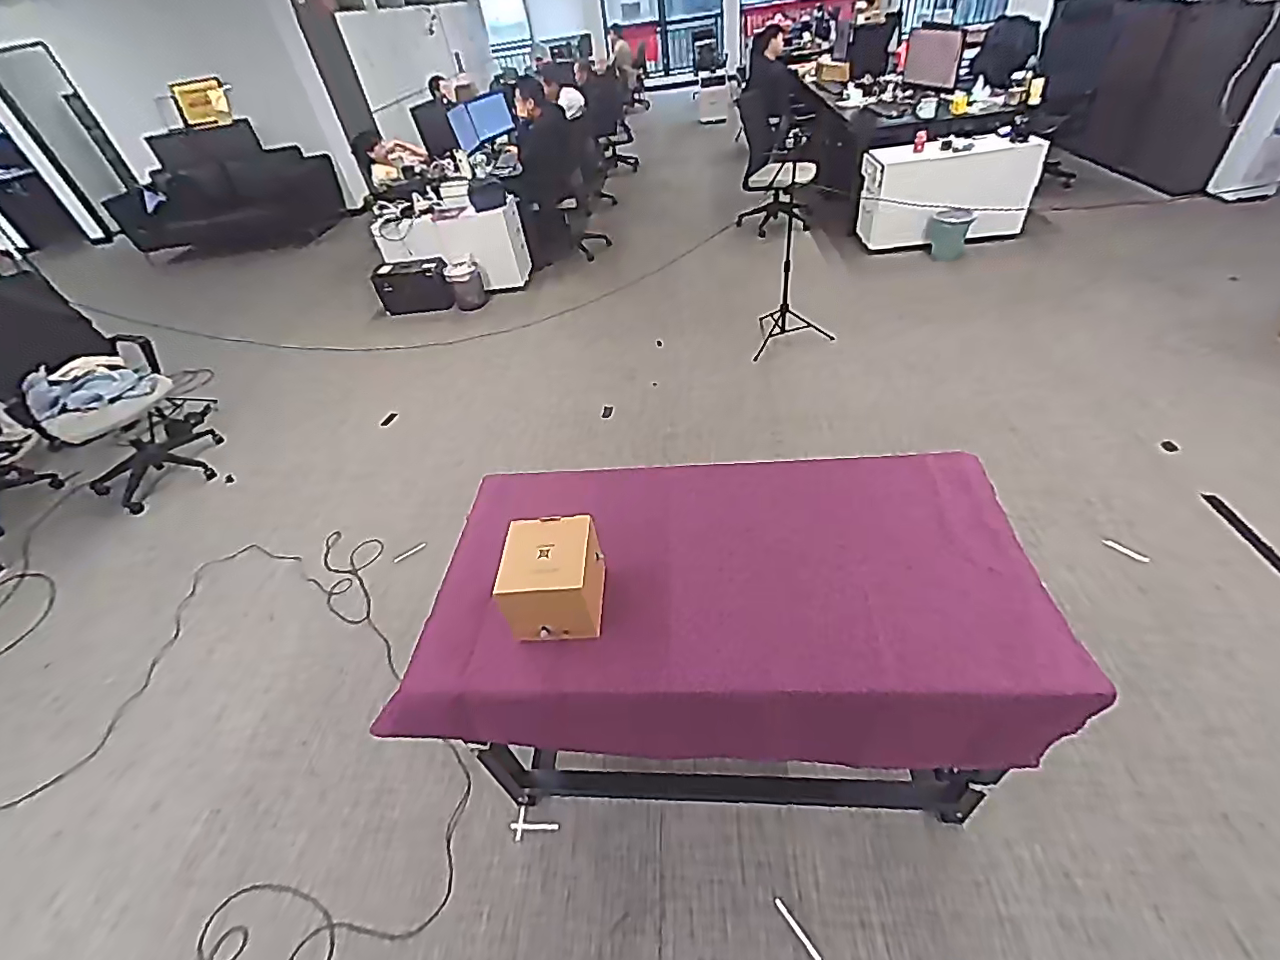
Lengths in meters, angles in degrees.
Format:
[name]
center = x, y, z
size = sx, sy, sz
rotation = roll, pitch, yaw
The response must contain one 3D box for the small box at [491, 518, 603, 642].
[small box]
center = -0.171, 0.196, 1.061
size = 0.168, 0.176, 0.179
rotation = -4, 42, 6
